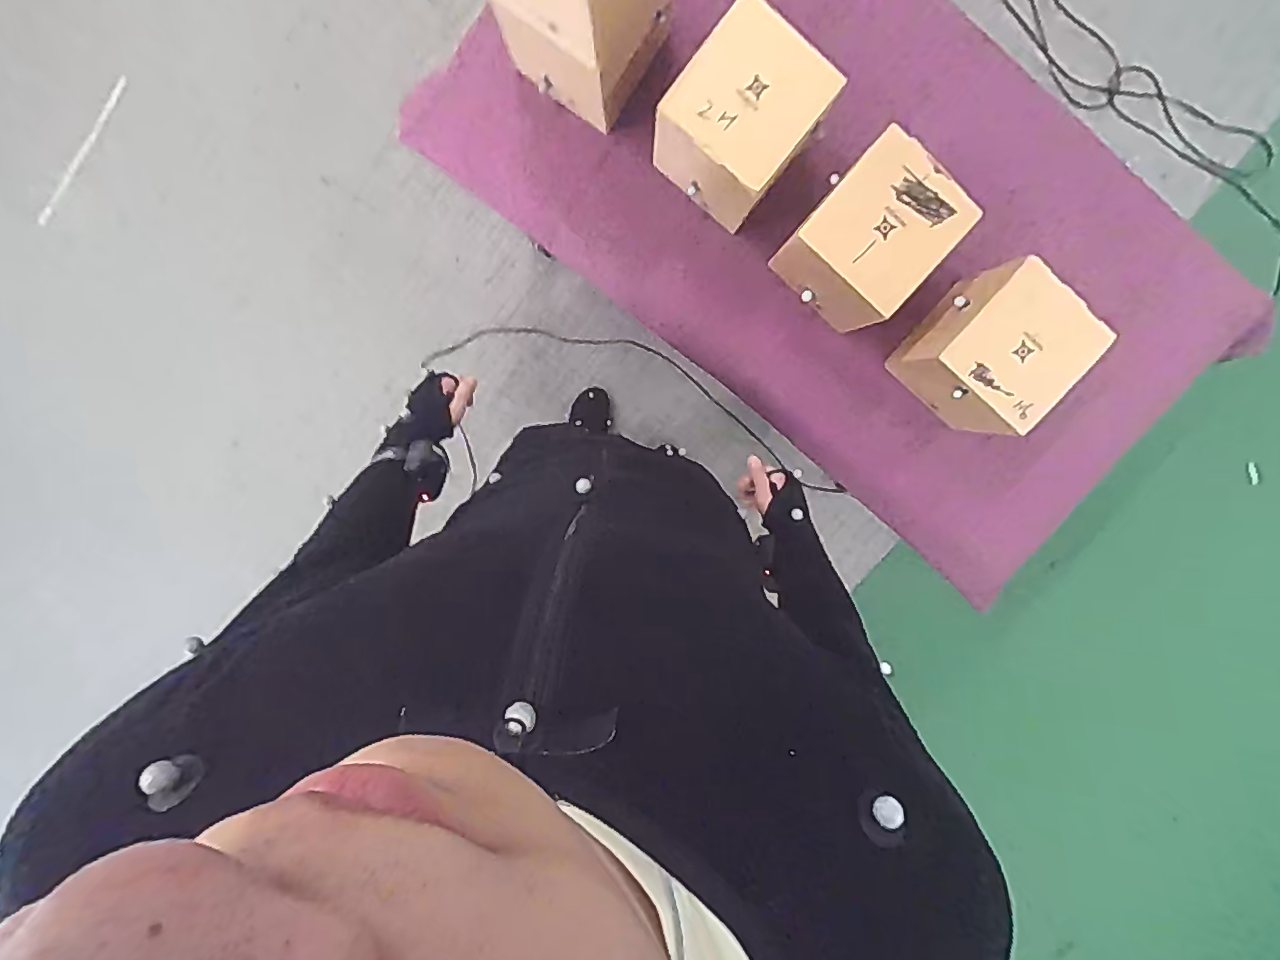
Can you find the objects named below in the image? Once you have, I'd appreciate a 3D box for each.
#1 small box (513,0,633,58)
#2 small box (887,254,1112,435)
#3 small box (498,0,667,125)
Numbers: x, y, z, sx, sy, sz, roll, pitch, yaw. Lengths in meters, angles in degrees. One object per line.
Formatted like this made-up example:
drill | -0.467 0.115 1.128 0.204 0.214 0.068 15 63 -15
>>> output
small box | -0.074 -0.600 0.556 0.168 0.176 0.179 34 97 -5
small box | 0.504 -0.188 0.789 0.168 0.176 0.179 40 96 -5
small box | -0.072 -0.629 0.715 0.168 0.176 0.179 34 98 -5
